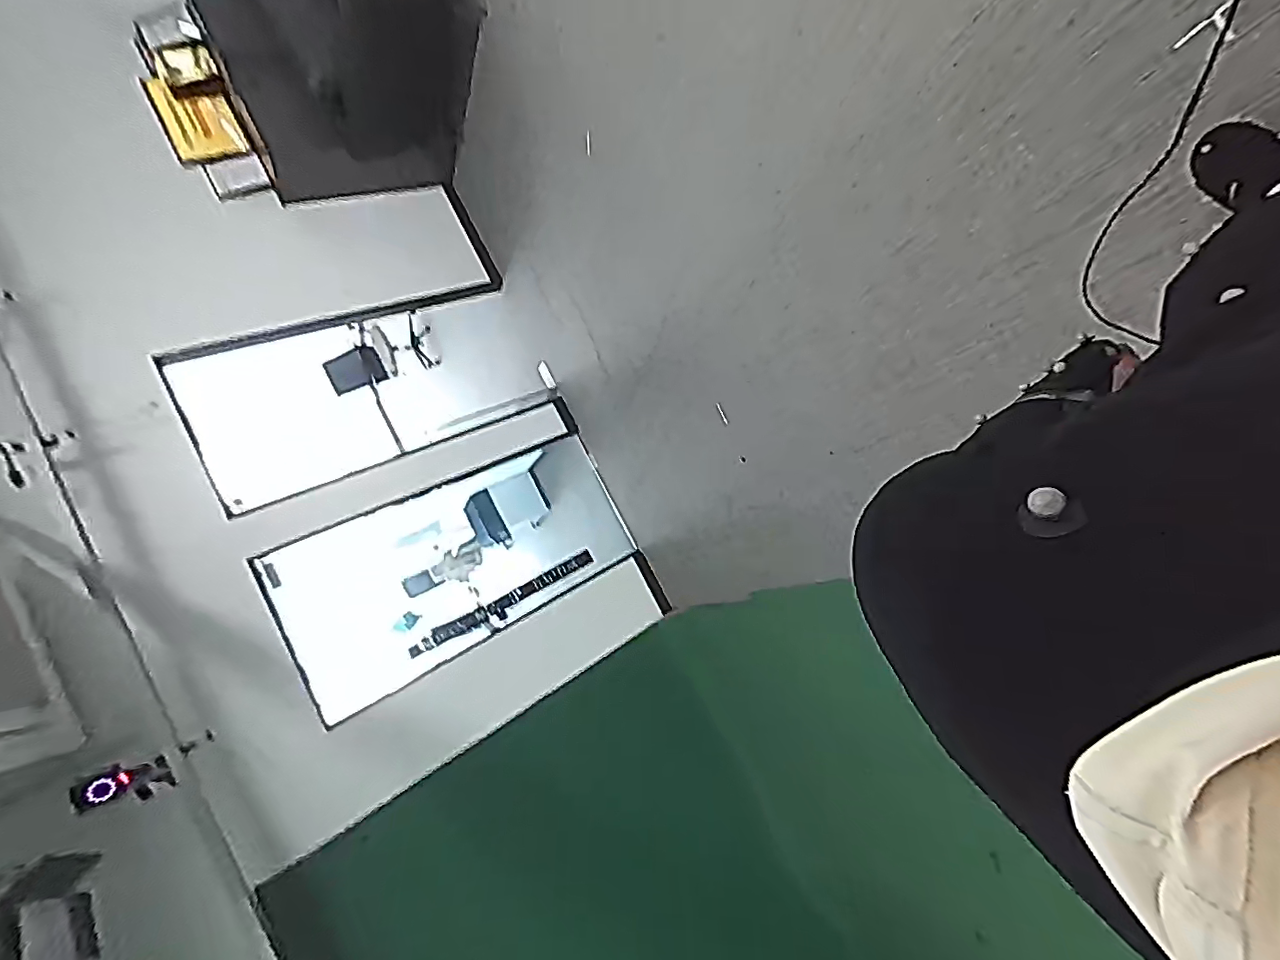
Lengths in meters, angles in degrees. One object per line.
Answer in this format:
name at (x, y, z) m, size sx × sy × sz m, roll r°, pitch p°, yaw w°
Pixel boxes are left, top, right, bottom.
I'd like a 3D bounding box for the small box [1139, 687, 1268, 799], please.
small box at (1.439, 0.660, 1.380) m, size 0.179 × 0.176 × 0.168 m, roll 64°, pitch 151°, yaw 1°
